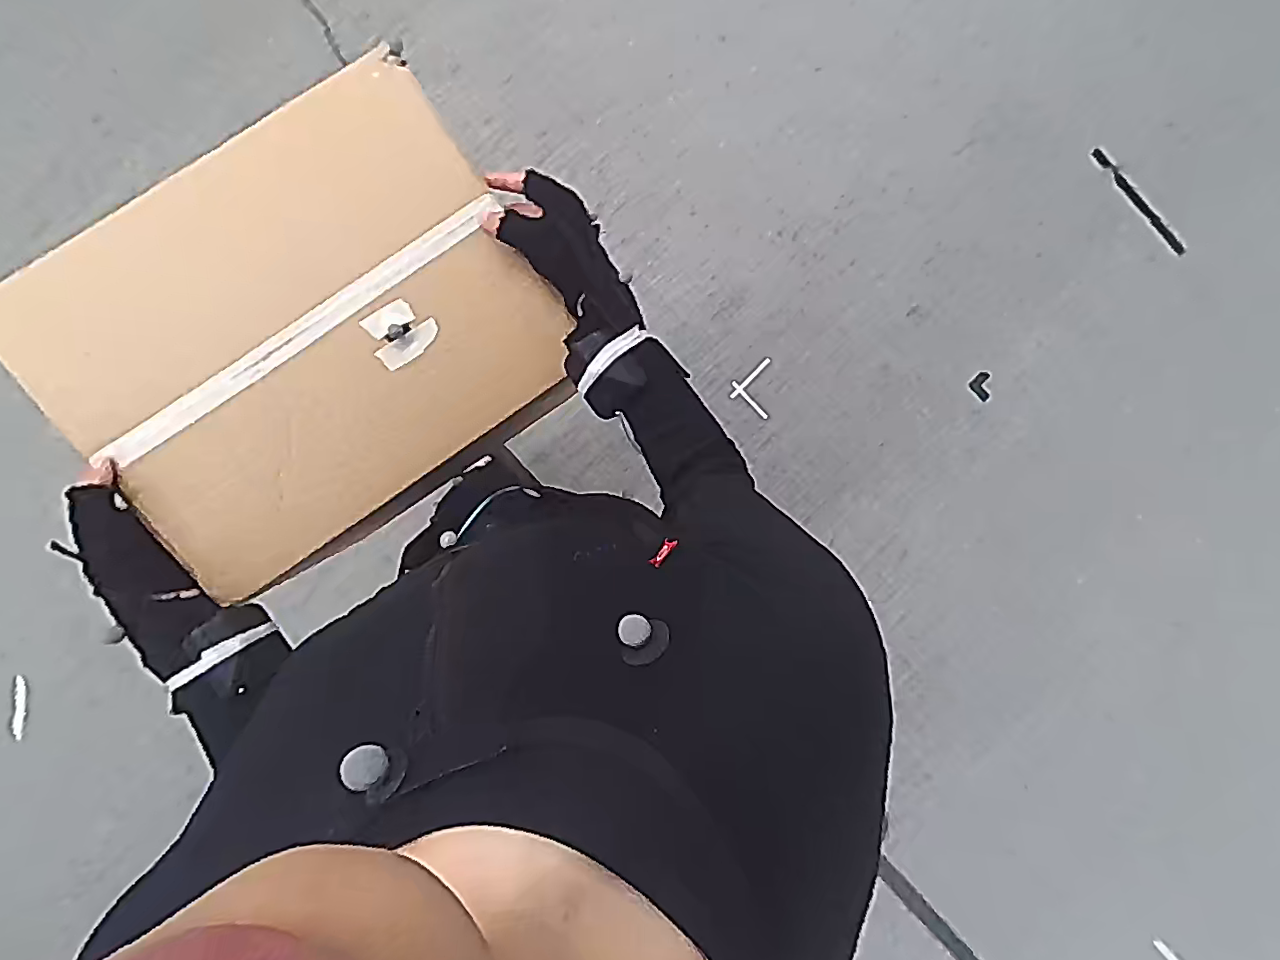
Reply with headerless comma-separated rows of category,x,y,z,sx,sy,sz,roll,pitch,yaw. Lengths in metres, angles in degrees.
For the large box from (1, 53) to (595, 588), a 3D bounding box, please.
large box,-0.307,-0.147,0.626,0.408,0.320,0.320,-36,99,-5
